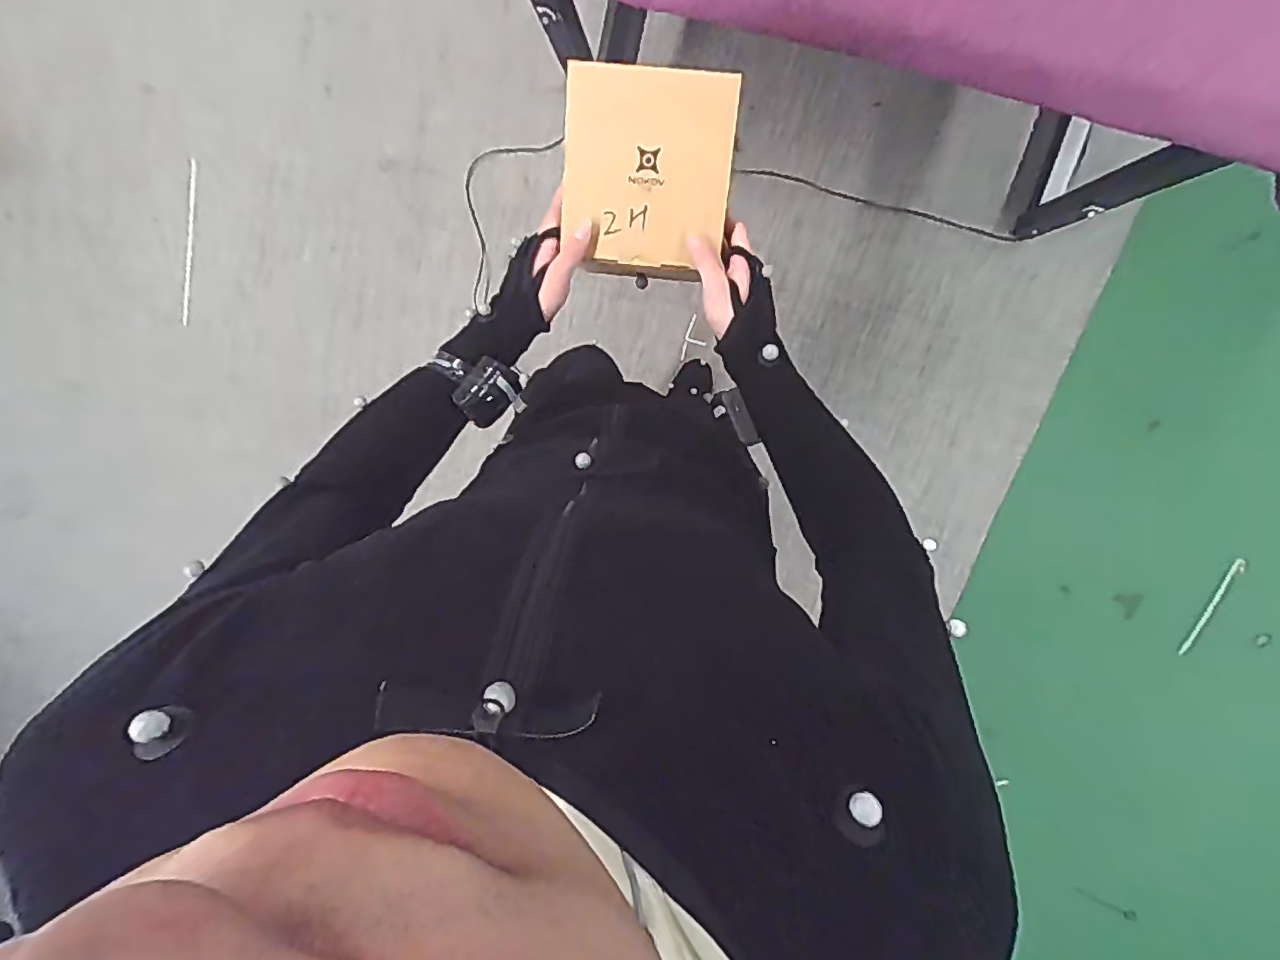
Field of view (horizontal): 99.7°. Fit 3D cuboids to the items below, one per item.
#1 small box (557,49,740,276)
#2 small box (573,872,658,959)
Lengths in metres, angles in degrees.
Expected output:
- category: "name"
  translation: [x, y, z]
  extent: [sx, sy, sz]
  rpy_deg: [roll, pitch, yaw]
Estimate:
- category: "small box"
  translation: [0.007, -0.333, 0.602]
  extent: [0.168, 0.176, 0.179]
  rpy_deg: [6, 107, 2]
- category: "small box"
  translation: [-0.059, 1.161, 1.388]
  extent: [0.179, 0.176, 0.168]
  rpy_deg: [17, 104, 4]
